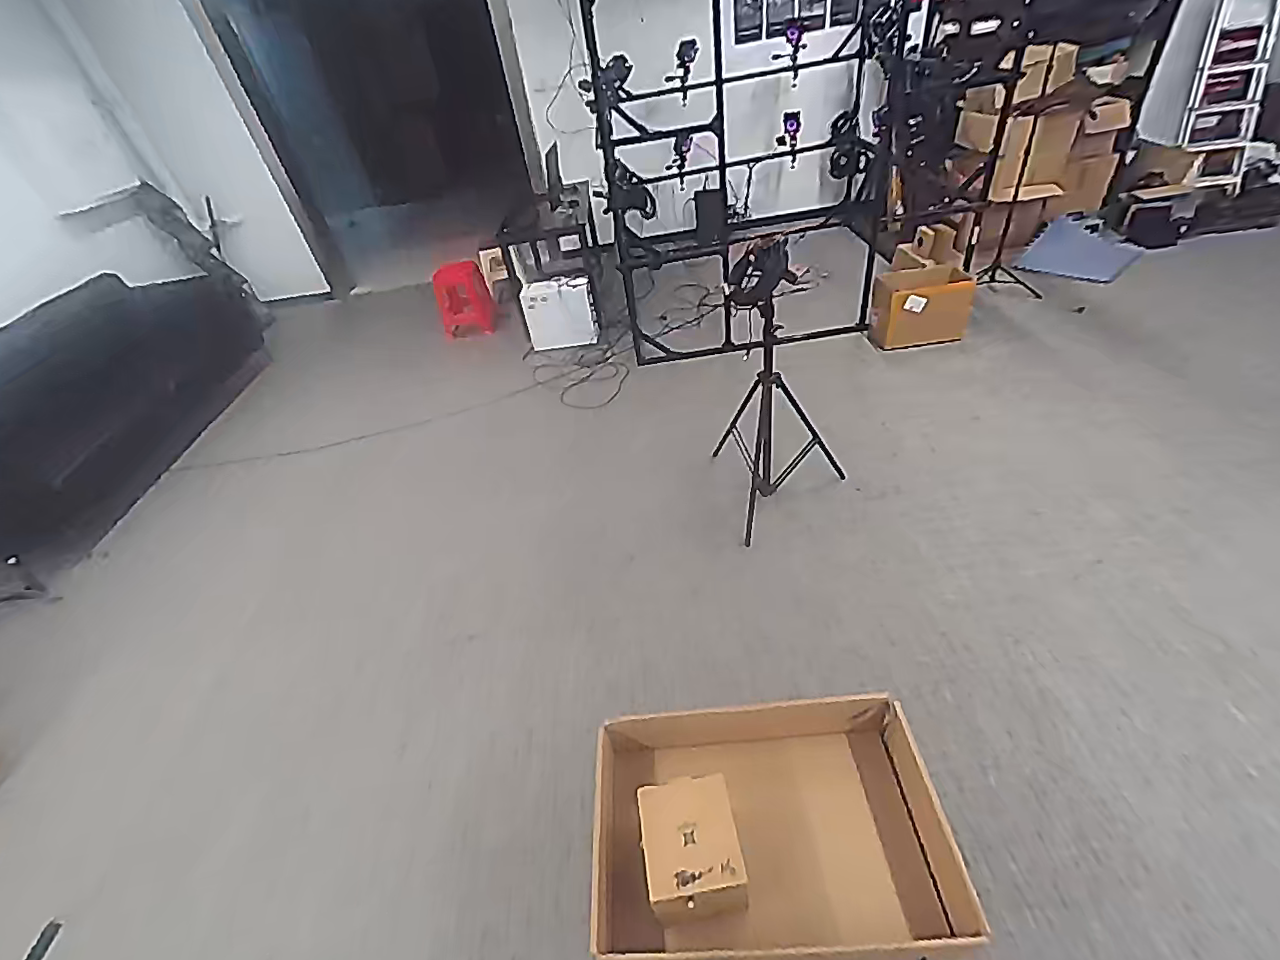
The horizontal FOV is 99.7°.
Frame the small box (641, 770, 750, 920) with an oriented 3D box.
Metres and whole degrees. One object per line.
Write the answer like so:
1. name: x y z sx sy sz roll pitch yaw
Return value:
1. small box: 0.100 0.669 0.992 0.168 0.176 0.179 -11 40 0
